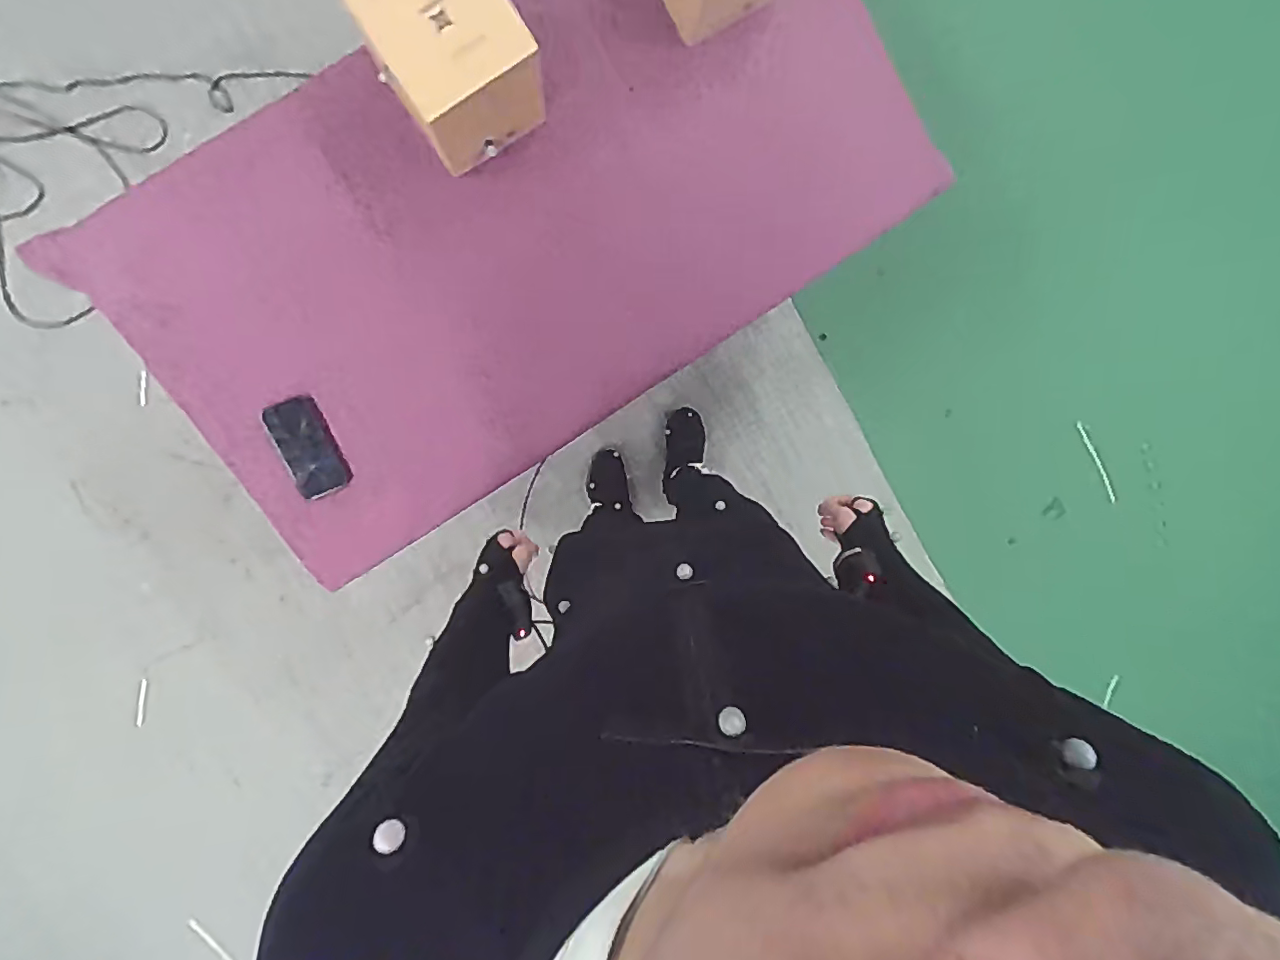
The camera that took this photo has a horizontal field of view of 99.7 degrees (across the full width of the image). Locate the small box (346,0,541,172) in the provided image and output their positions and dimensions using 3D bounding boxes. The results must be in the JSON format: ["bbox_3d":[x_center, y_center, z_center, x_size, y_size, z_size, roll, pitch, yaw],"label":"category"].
[{"bbox_3d":[-0.248,-0.555,0.712,0.168,0.176,0.179,-34,100,-1],"label":"small box"}]

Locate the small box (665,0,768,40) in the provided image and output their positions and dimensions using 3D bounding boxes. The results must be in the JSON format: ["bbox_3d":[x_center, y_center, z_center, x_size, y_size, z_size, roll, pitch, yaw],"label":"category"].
[{"bbox_3d":[0.105,-0.765,0.730,0.168,0.176,0.179,-31,98,-2],"label":"small box"}]
